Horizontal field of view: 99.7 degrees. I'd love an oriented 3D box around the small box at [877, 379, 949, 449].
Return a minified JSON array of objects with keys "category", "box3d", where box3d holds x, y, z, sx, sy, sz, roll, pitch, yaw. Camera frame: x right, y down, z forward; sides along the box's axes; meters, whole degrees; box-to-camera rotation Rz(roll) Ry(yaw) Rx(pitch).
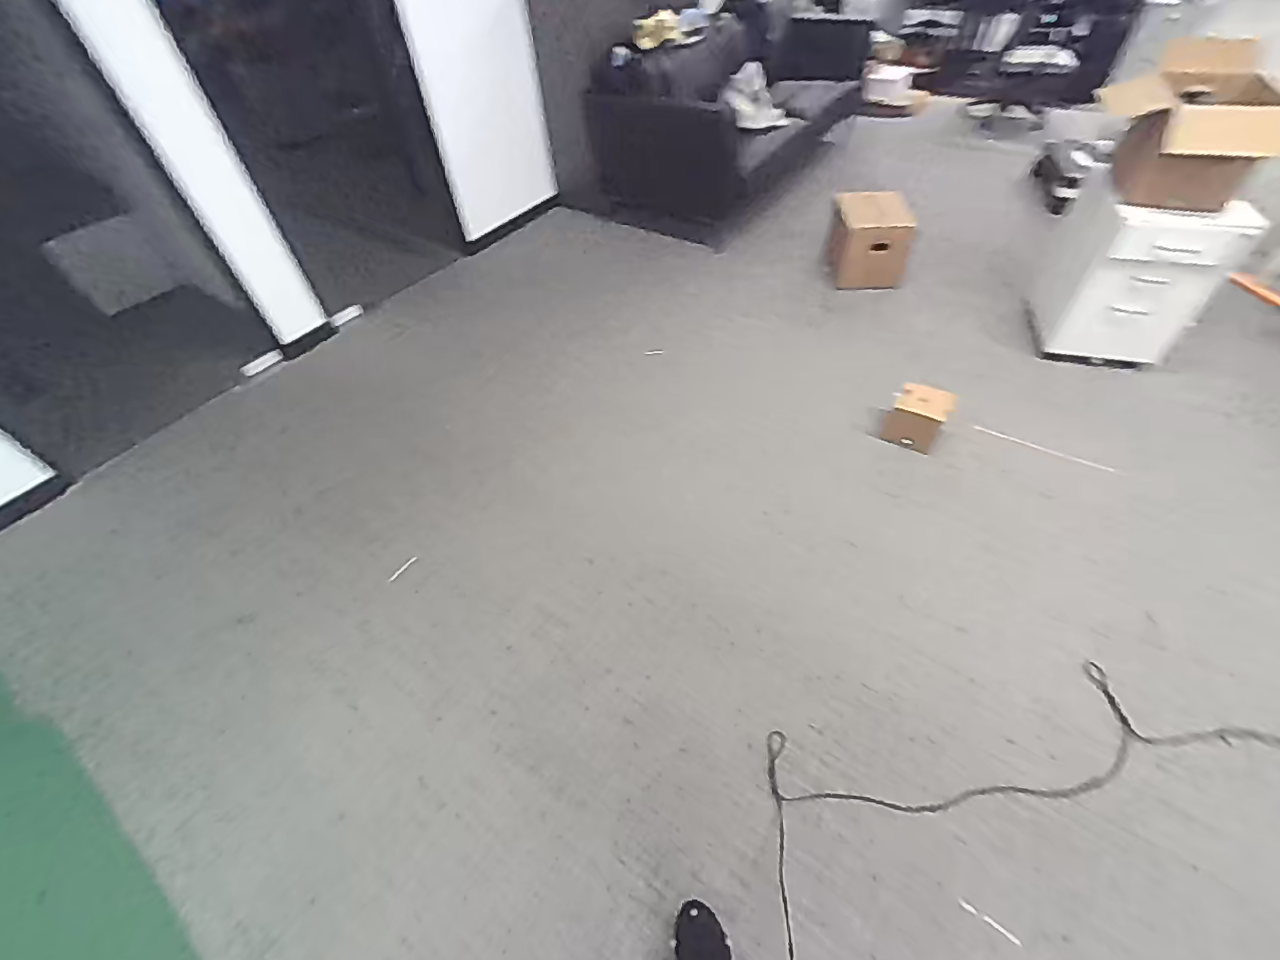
[{"category":"small box","box3d":[1.006,-0.241,2.001,0.179,0.176,0.168,24,54,23]}]
